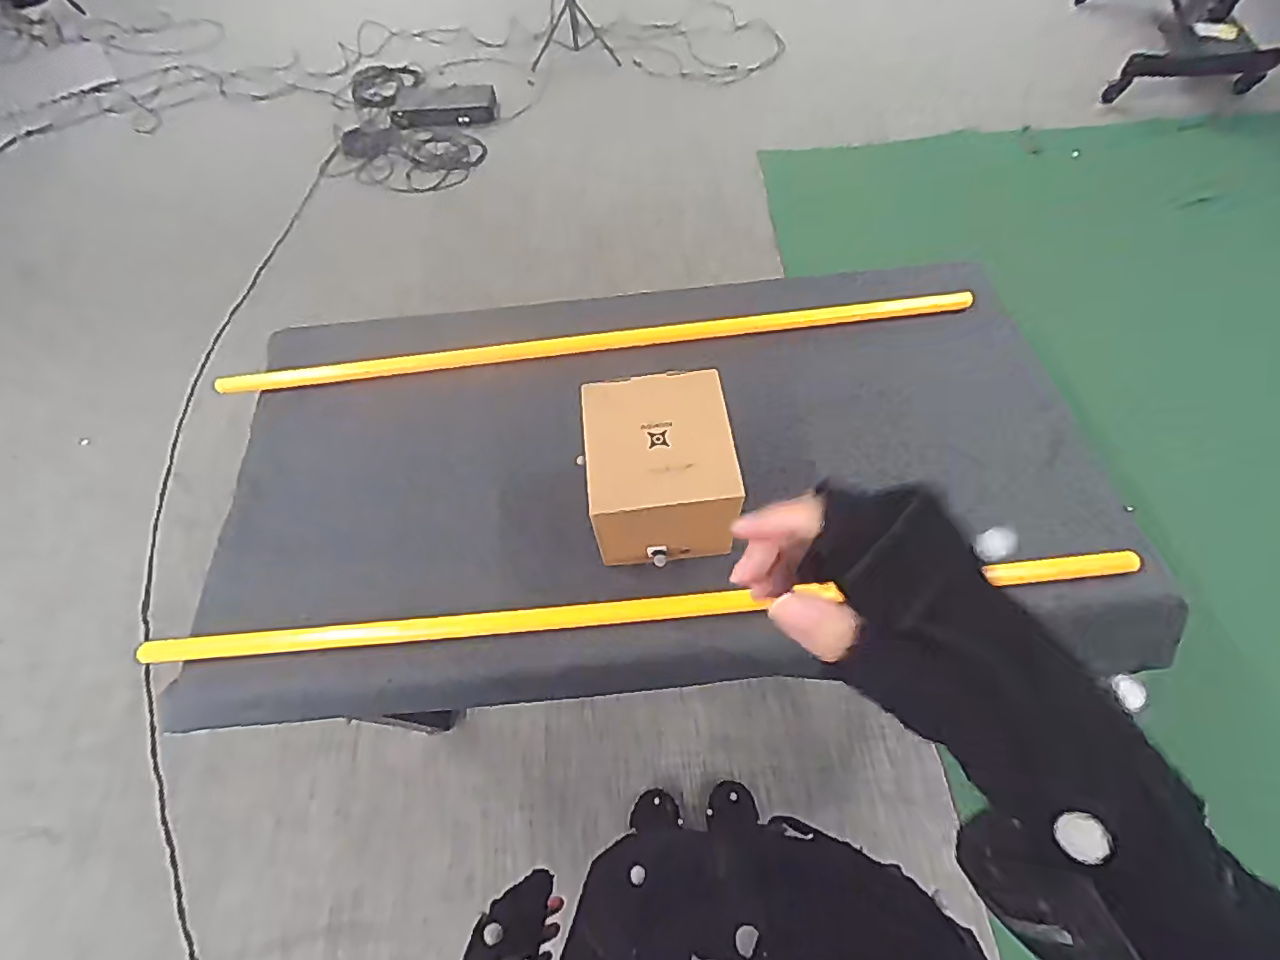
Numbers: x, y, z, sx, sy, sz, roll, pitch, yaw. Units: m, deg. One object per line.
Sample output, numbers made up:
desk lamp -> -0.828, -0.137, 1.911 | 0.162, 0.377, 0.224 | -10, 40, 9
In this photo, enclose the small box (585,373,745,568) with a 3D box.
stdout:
small box -> 0.026, -0.007, 0.678 | 0.168, 0.176, 0.179 | -8, 62, 0
